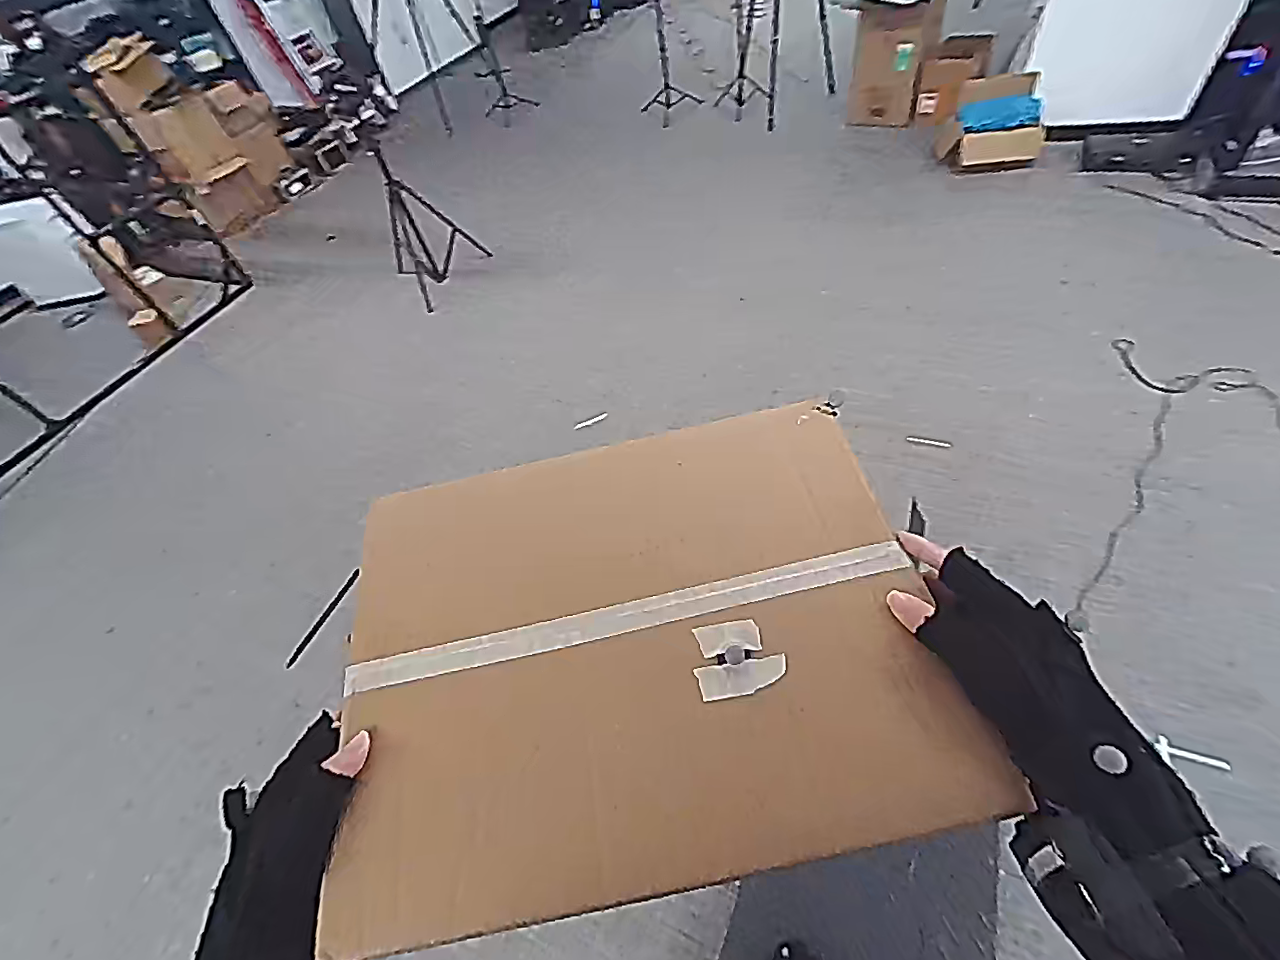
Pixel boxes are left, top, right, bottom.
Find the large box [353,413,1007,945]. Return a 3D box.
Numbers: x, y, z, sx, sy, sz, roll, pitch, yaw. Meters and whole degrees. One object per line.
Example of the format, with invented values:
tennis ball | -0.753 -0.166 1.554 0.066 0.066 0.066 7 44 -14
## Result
large box | 0.015 0.188 0.520 0.408 0.320 0.320 -12 56 0
